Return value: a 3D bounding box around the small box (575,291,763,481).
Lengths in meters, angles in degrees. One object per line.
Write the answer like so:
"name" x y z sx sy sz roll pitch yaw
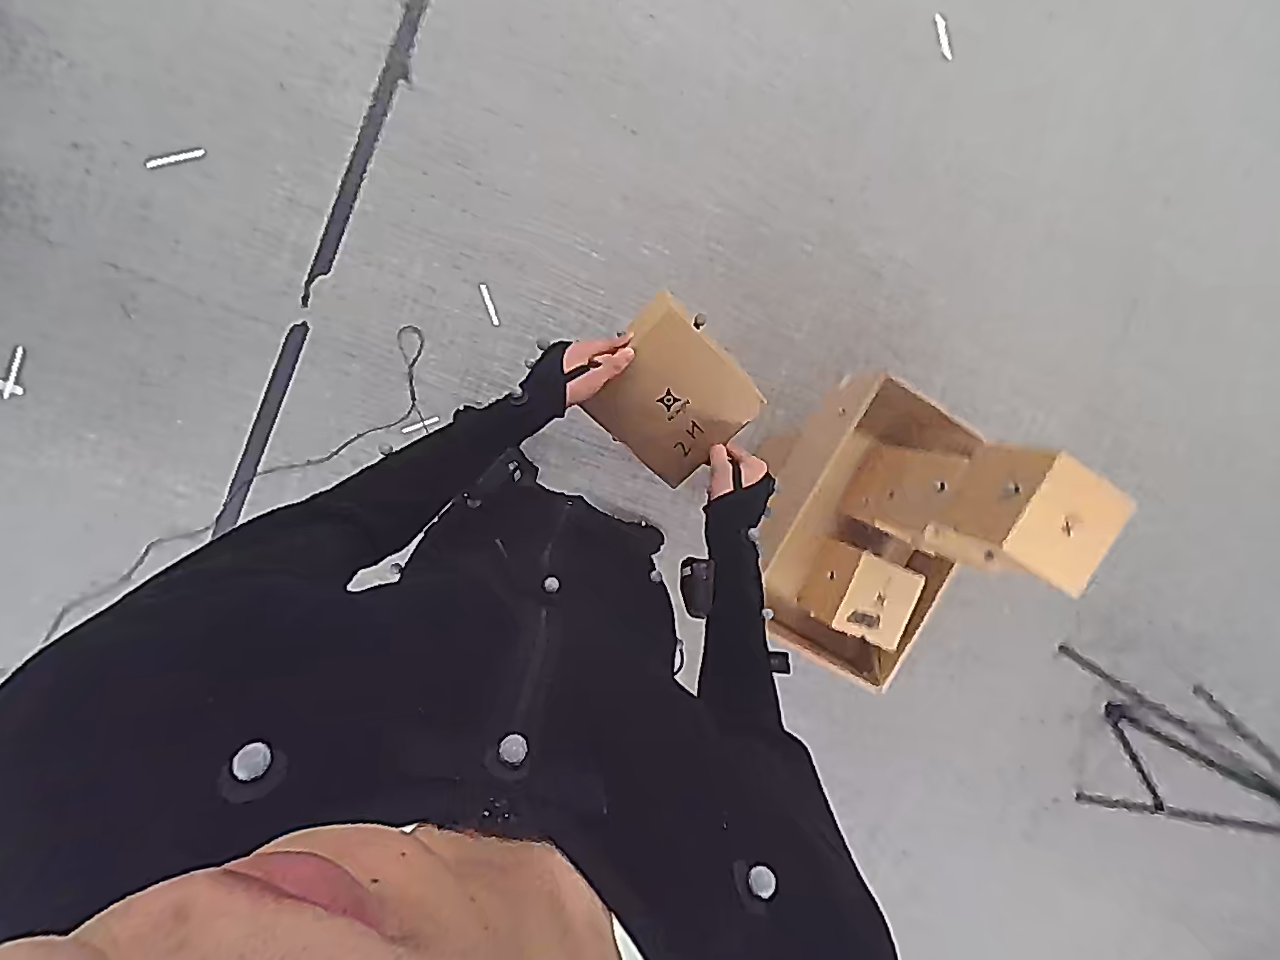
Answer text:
"small box" 0.034 -0.136 0.734 0.179 0.176 0.168 40 110 -18

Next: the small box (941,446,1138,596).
"small box" 0.647 0.059 0.903 0.168 0.176 0.179 30 93 -10

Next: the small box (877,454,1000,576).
"small box" 0.614 0.059 1.064 0.179 0.176 0.168 27 93 -11
